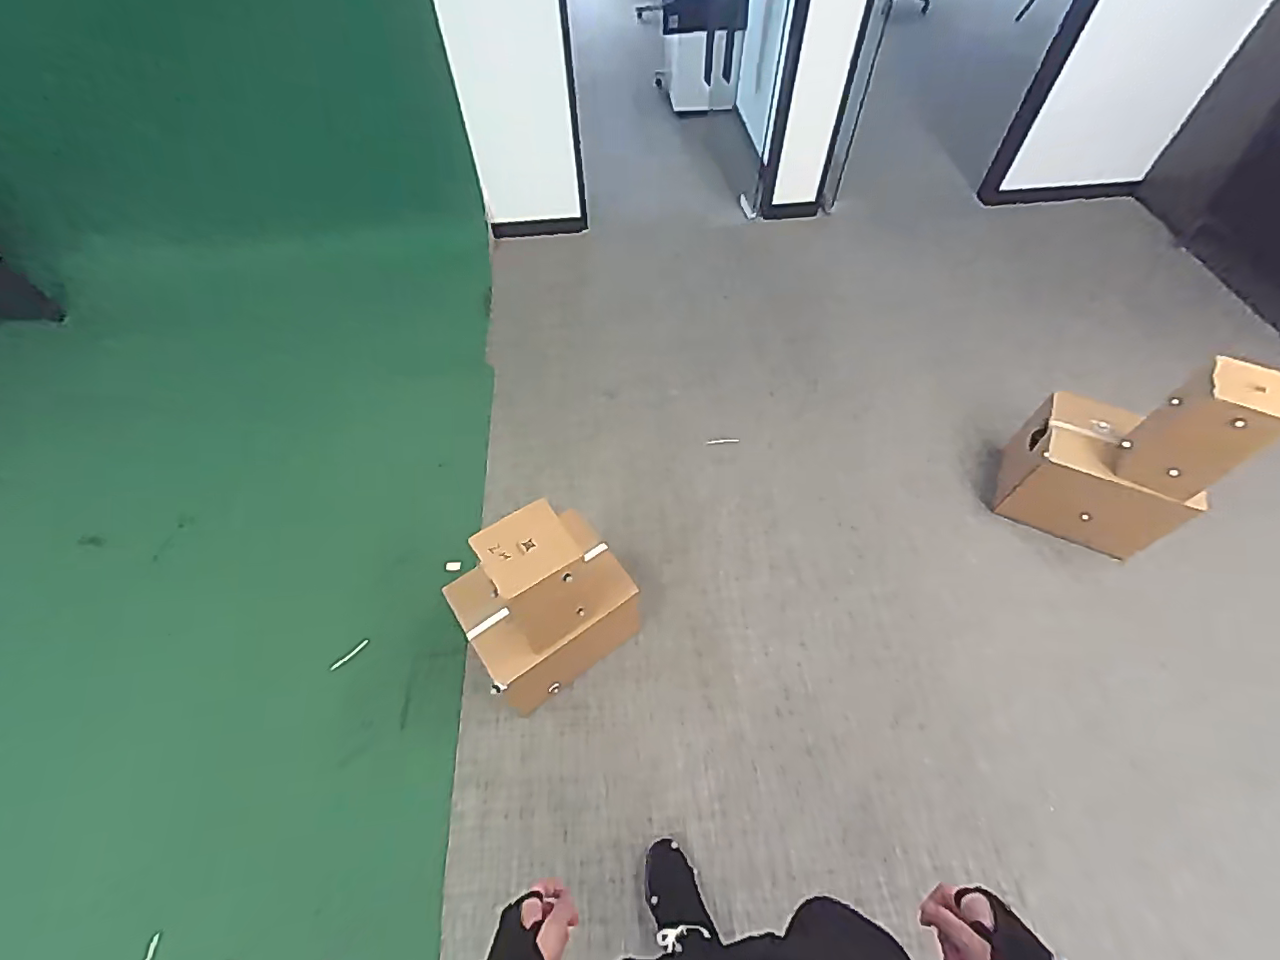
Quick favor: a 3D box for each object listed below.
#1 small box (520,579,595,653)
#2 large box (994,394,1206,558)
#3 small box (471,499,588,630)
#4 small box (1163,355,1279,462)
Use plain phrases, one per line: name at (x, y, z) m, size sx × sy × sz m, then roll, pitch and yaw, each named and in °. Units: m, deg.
small box at (-0.217, 0.267, 1.252) m, size 0.179 × 0.176 × 0.168 m, roll -32°, pitch 61°, yaw -18°
large box at (1.428, -0.010, 1.713) m, size 0.408 × 0.320 × 0.320 m, roll 22°, pitch 58°, yaw 16°
small box at (-0.218, 0.176, 1.115) m, size 0.179 × 0.176 × 0.168 m, roll -30°, pitch 60°, yaw -18°
small box at (1.455, -0.170, 1.327) m, size 0.179 × 0.176 × 0.168 m, roll 25°, pitch 61°, yaw 18°
